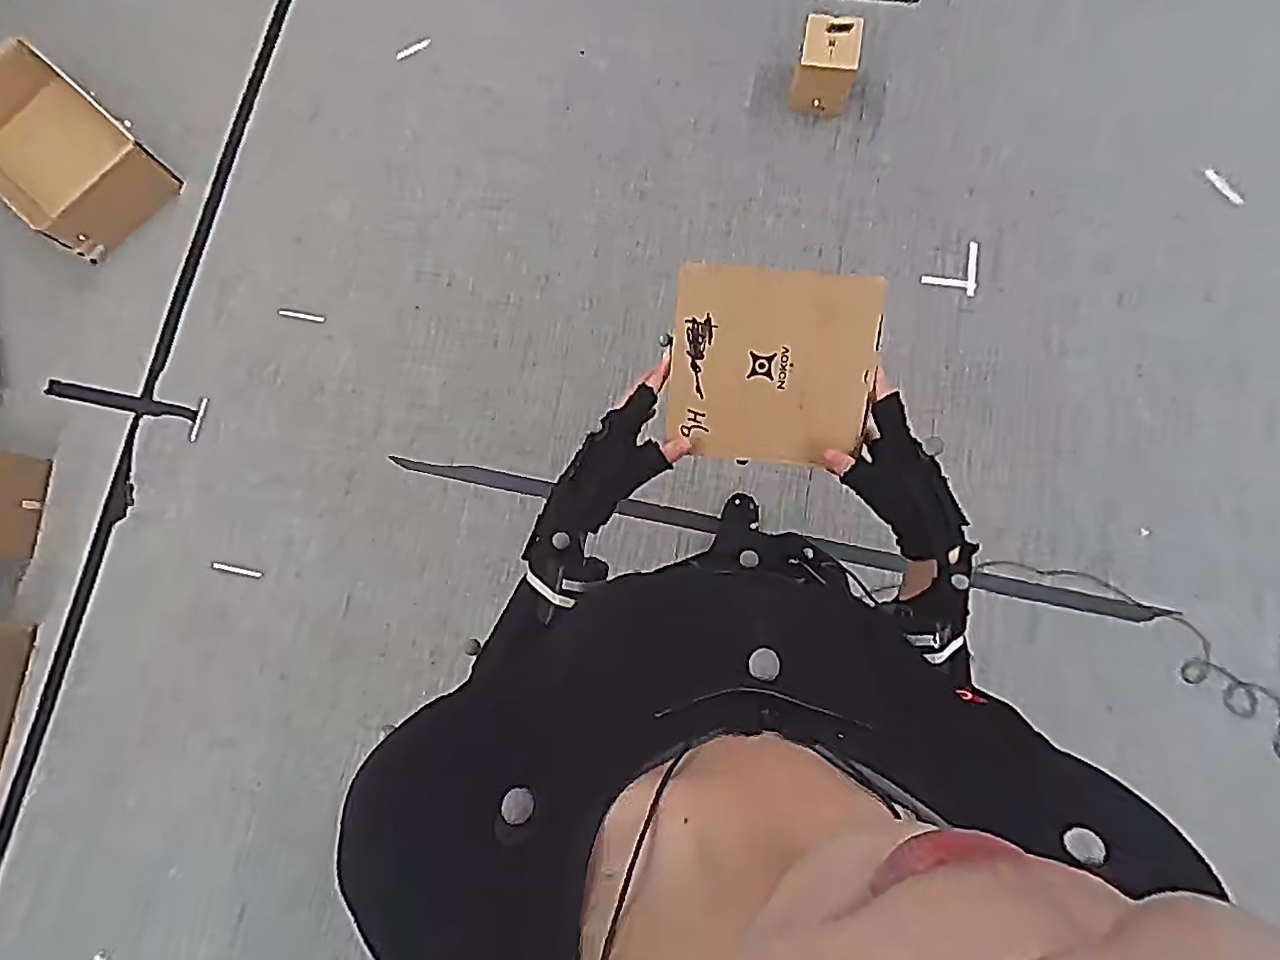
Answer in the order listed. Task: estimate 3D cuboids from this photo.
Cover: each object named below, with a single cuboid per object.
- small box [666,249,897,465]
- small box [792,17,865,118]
[{"bbox_3d":[0.121,-0.115,0.536,0.179,0.176,0.168,6,98,2],"label":"small box"},{"bbox_3d":[0.574,-1.266,1.666,0.168,0.176,0.179,10,82,5],"label":"small box"}]
